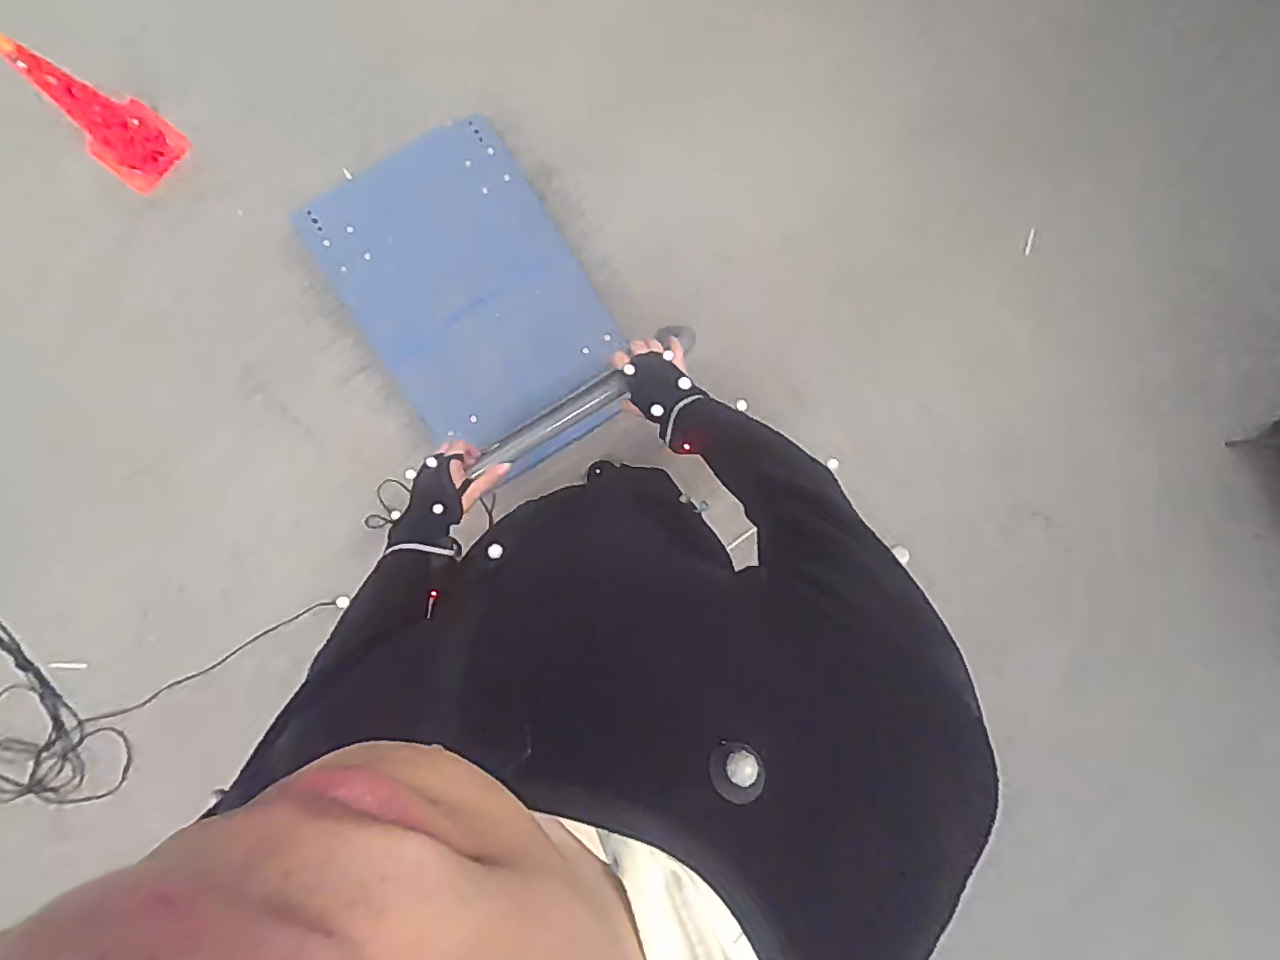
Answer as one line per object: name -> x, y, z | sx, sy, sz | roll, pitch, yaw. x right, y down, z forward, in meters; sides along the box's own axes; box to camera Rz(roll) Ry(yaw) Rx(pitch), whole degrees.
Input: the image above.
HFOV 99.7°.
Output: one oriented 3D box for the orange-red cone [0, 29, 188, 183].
orange-red cone -> -1.367, -0.941, 1.322 | 0.198, 0.360, 0.199 | 40, 88, -4
